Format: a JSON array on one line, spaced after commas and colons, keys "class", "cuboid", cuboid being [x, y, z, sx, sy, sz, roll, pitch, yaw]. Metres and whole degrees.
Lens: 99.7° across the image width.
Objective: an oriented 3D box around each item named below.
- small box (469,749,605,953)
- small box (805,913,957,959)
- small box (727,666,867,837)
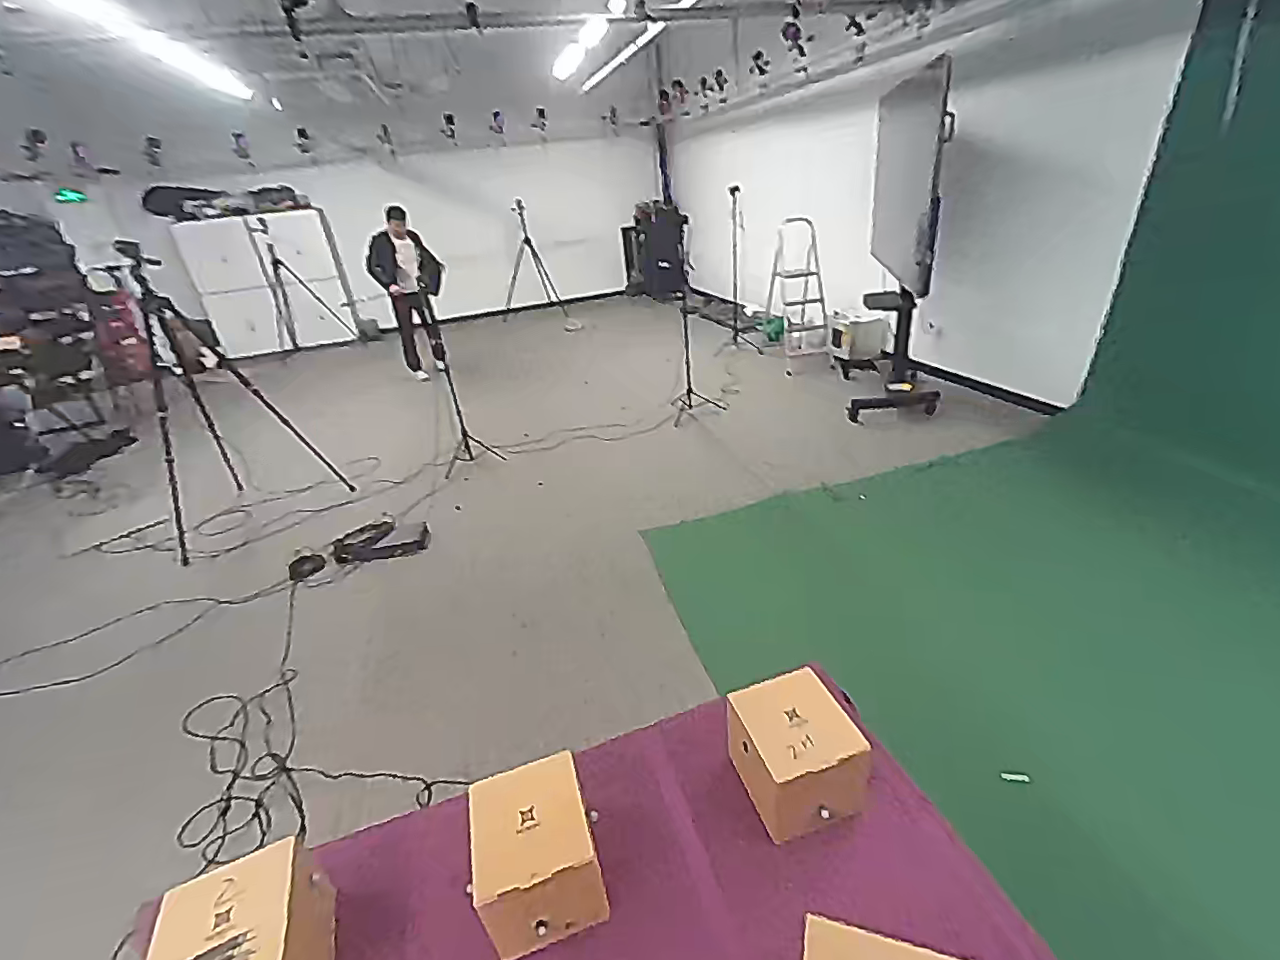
[{"class": "small box", "cuboid": [-0.159, 0.563, 0.831, 0.168, 0.176, 0.179, -13, 31, -14]}, {"class": "small box", "cuboid": [0.239, 0.571, 0.516, 0.168, 0.176, 0.179, 3, 36, 21]}, {"class": "small box", "cuboid": [0.258, 0.460, 0.928, 0.168, 0.176, 0.179, -14, 30, -12]}]
